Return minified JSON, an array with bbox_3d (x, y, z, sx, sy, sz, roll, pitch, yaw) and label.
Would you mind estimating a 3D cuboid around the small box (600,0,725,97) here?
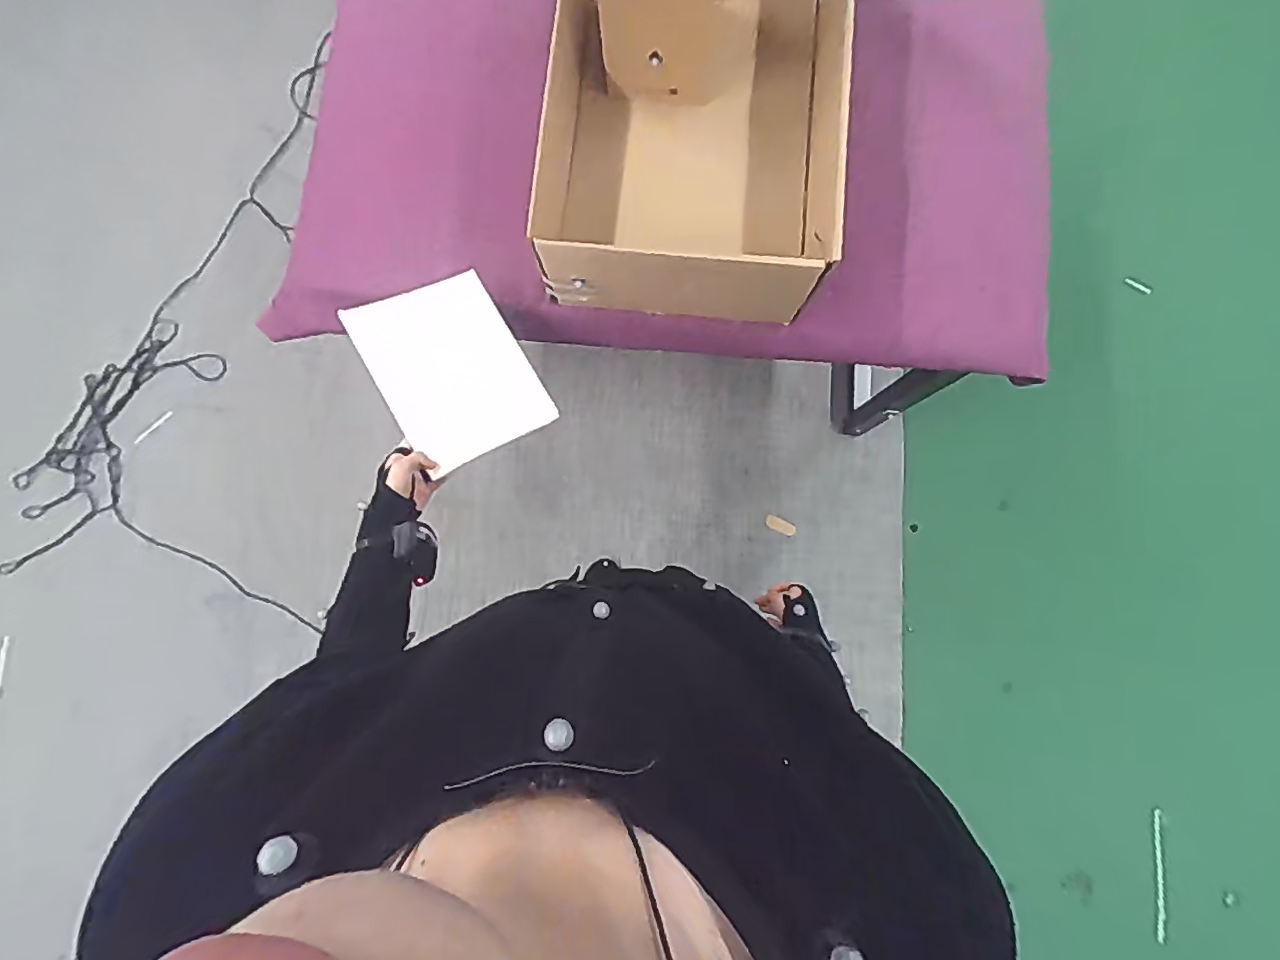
[{"bbox_3d":[0.040,-0.696,0.780,0.168,0.176,0.179,6,84,2],"label":"small box"}]
